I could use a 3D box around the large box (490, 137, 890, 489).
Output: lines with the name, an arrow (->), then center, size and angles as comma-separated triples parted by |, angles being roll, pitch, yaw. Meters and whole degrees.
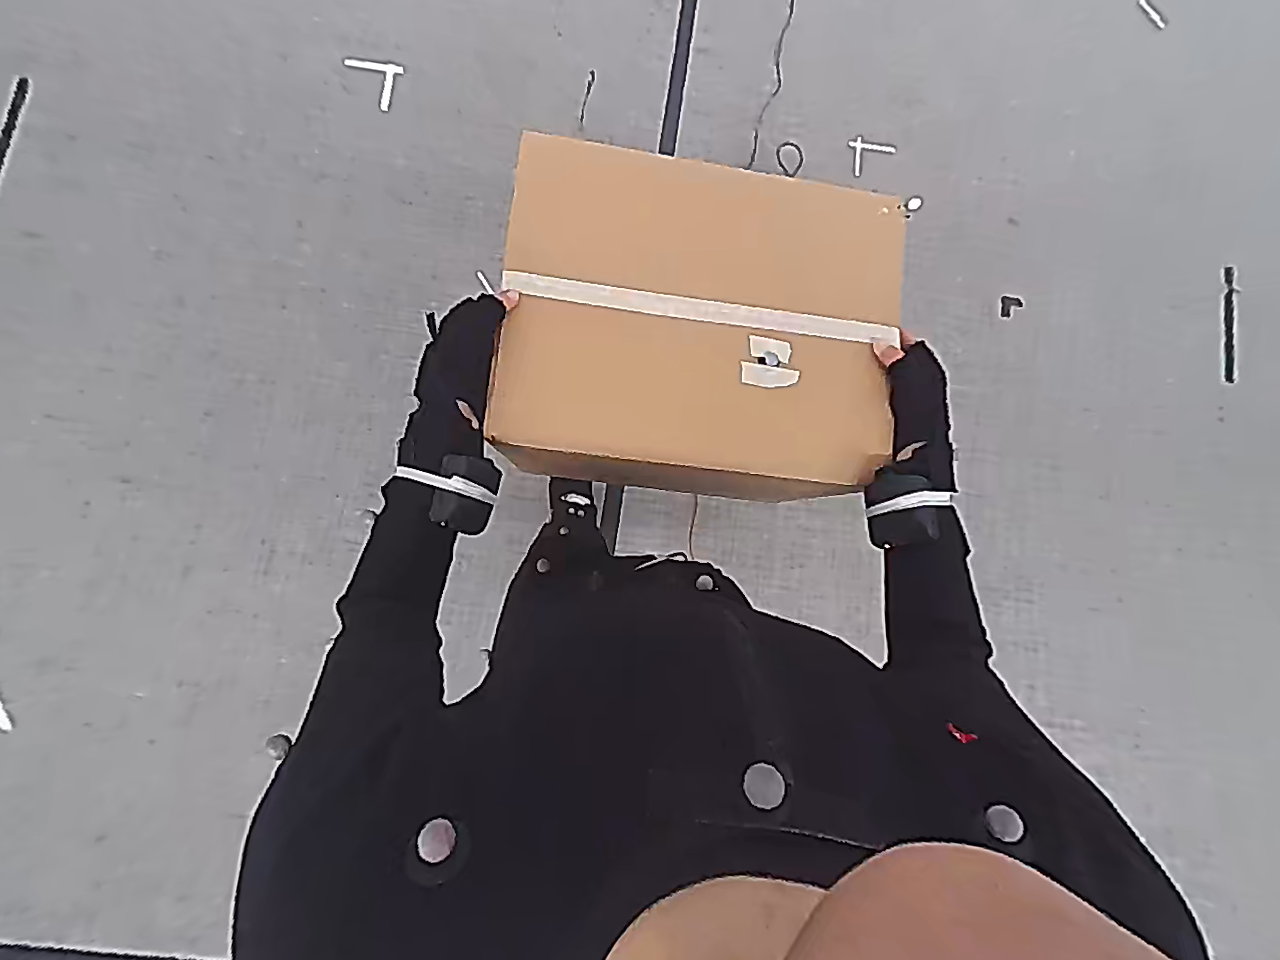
large box -> 0.044, -0.167, 0.703 | 0.408, 0.320, 0.320 | 7, 86, -6
